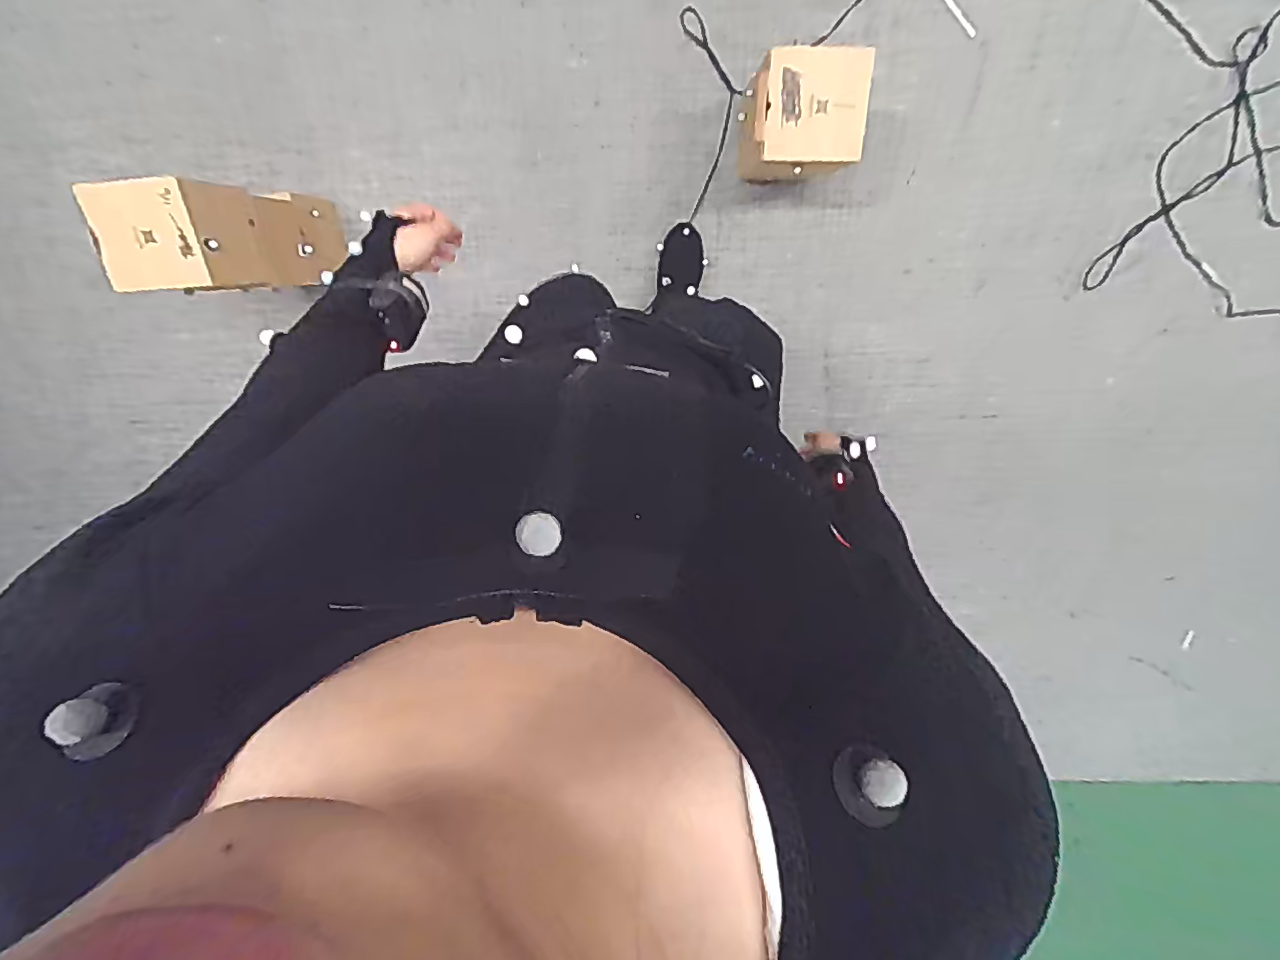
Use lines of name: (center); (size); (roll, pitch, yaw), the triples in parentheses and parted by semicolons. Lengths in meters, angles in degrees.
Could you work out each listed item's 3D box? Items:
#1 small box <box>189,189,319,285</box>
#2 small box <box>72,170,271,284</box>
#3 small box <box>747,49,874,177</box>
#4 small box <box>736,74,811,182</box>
small box: (-0.806, -0.491, 1.107); (0.179, 0.176, 0.168); (-3, 112, 2)
small box: (-0.806, -0.437, 0.952); (0.179, 0.176, 0.168); (-2, 112, 4)
small box: (0.298, -0.661, 0.992); (0.179, 0.176, 0.168); (1, 112, 0)
small box: (0.302, -0.732, 1.140); (0.179, 0.176, 0.168); (1, 112, 1)
